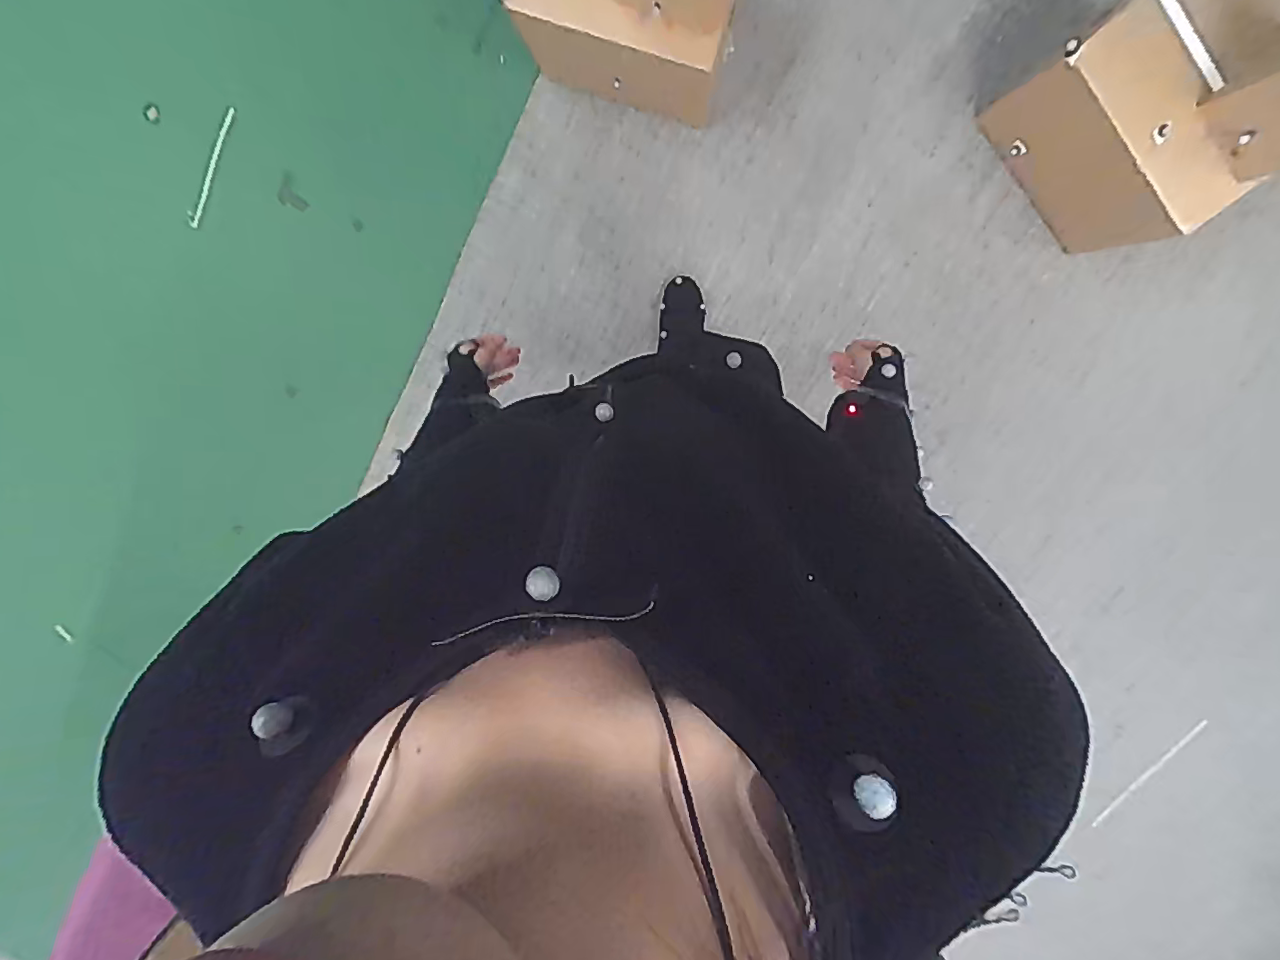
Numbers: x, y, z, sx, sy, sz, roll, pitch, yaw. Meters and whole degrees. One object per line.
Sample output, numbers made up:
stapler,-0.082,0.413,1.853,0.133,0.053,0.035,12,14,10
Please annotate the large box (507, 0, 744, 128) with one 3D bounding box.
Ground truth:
large box,-0.001,-0.978,1.093,0.408,0.320,0.320,17,105,1

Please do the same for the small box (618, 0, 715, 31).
small box,0.057,-0.870,0.864,0.179,0.176,0.168,21,106,-2

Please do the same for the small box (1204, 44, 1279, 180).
small box,1.087,-0.623,0.860,0.179,0.176,0.168,-39,99,12
